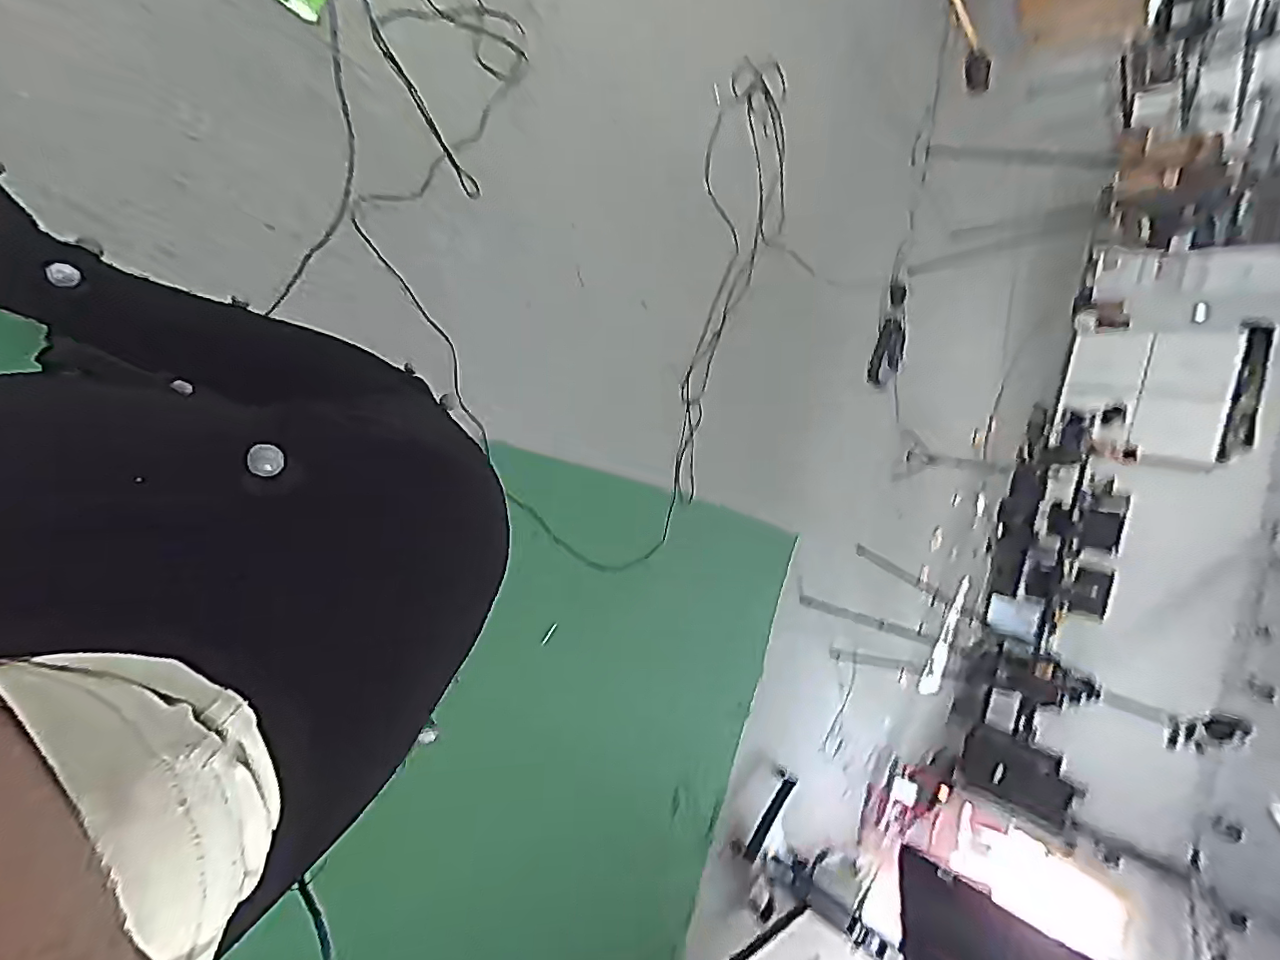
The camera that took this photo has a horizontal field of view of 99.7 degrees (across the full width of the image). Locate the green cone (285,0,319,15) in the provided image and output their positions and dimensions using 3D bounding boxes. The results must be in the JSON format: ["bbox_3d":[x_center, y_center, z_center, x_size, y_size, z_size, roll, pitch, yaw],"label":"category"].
[{"bbox_3d":[-0.699,-1.177,1.099,0.202,0.368,0.200,17,88,-46],"label":"green cone"}]
